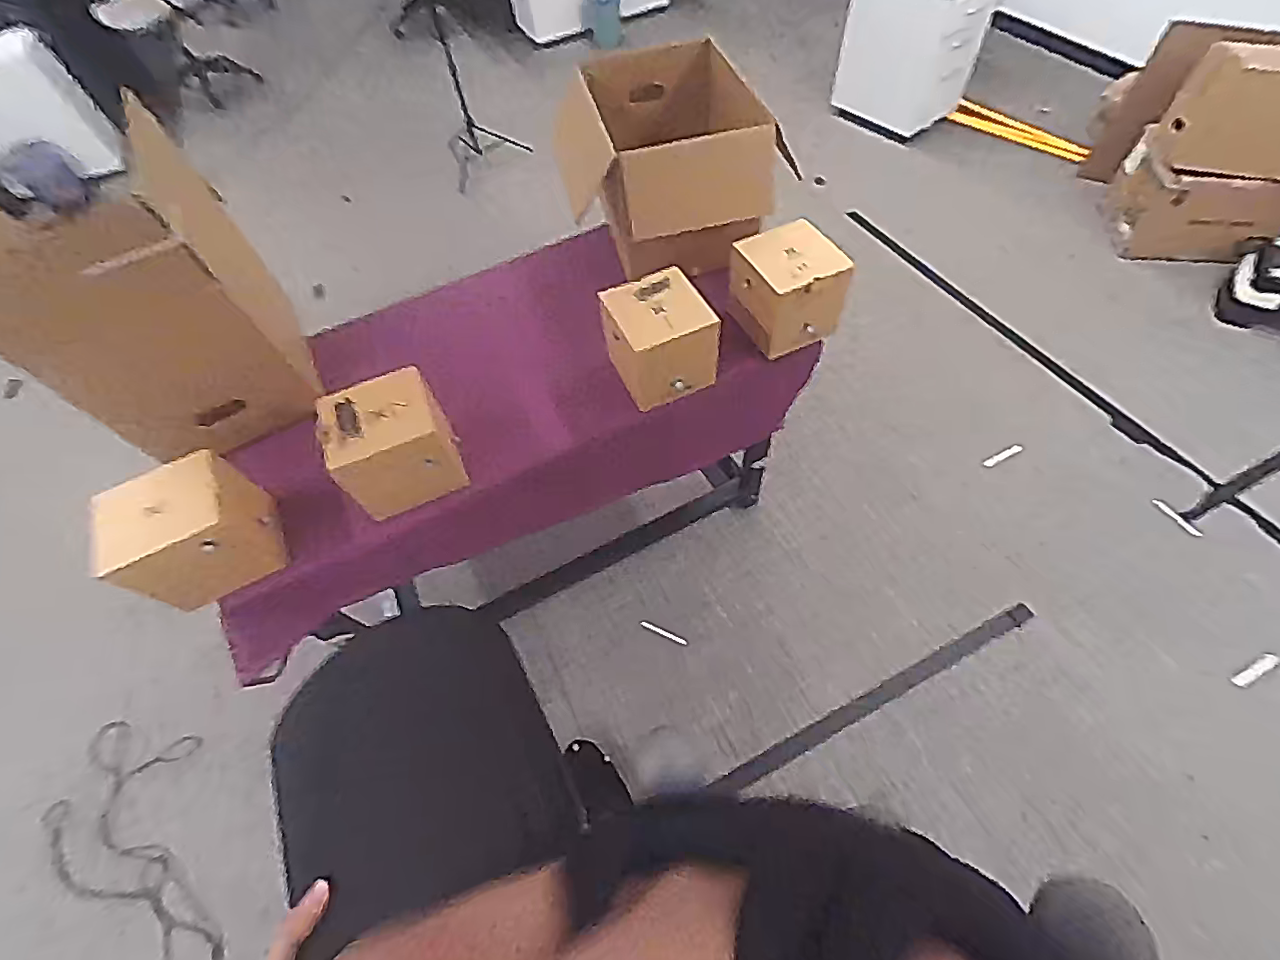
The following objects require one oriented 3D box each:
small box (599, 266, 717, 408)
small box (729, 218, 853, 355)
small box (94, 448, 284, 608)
[{"bbox_3d":[0.034,-0.273,1.048,0.168,0.176,0.179,-23,60,-9],"label":"small box"},{"bbox_3d":[0.291,-0.386,1.092,0.168,0.176,0.179,-23,59,-8],"label":"small box"},{"bbox_3d":[-0.739,0.085,0.897,0.179,0.176,0.168,-28,60,-13],"label":"small box"}]
